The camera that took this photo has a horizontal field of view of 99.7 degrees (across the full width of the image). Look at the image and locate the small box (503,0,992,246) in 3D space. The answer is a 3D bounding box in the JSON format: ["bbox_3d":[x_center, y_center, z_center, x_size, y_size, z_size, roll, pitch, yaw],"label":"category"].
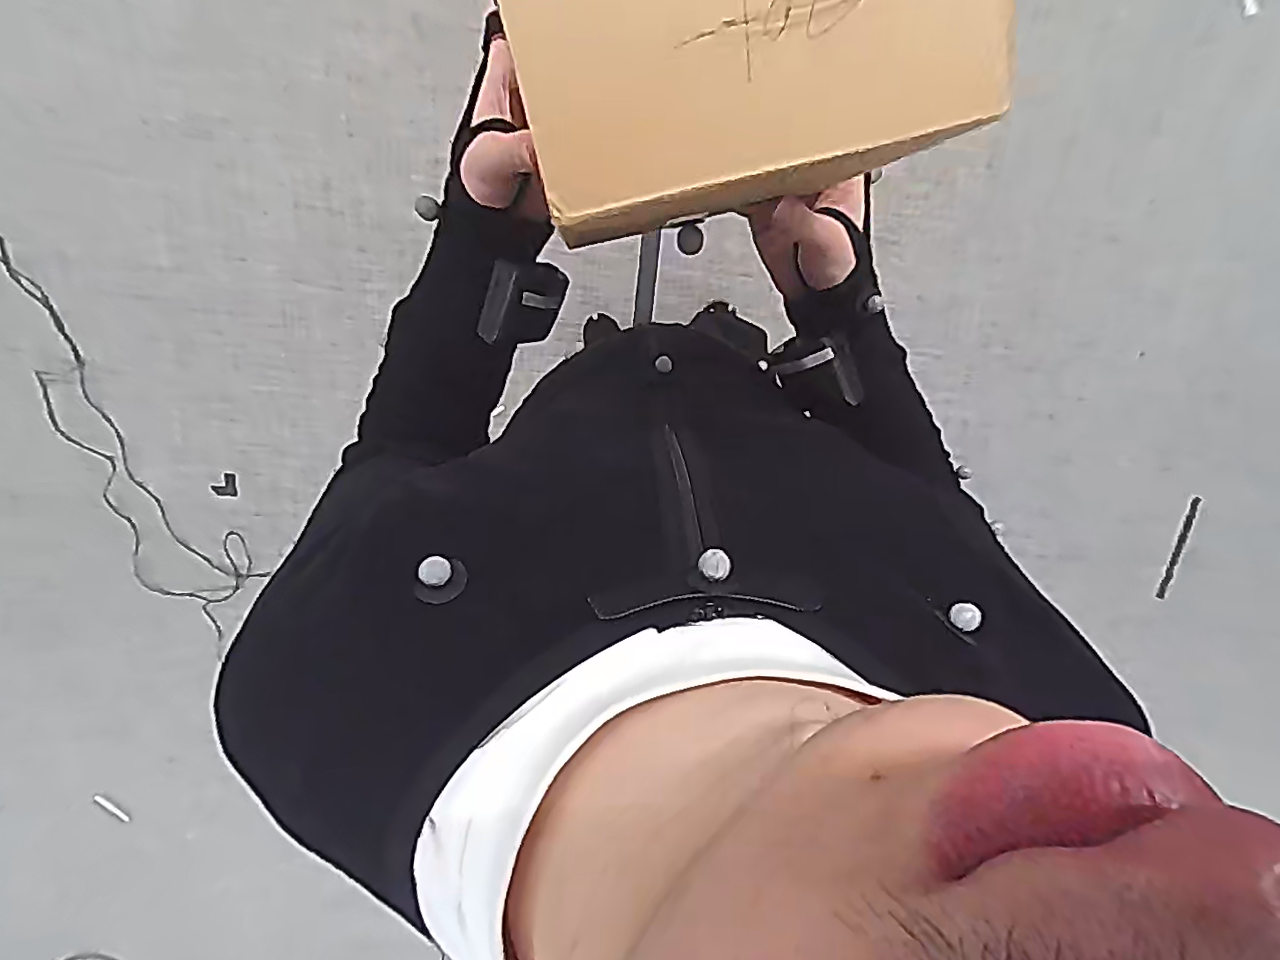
[{"bbox_3d":[0.023,-0.220,0.245,0.168,0.176,0.179,-15,111,1],"label":"small box"}]
